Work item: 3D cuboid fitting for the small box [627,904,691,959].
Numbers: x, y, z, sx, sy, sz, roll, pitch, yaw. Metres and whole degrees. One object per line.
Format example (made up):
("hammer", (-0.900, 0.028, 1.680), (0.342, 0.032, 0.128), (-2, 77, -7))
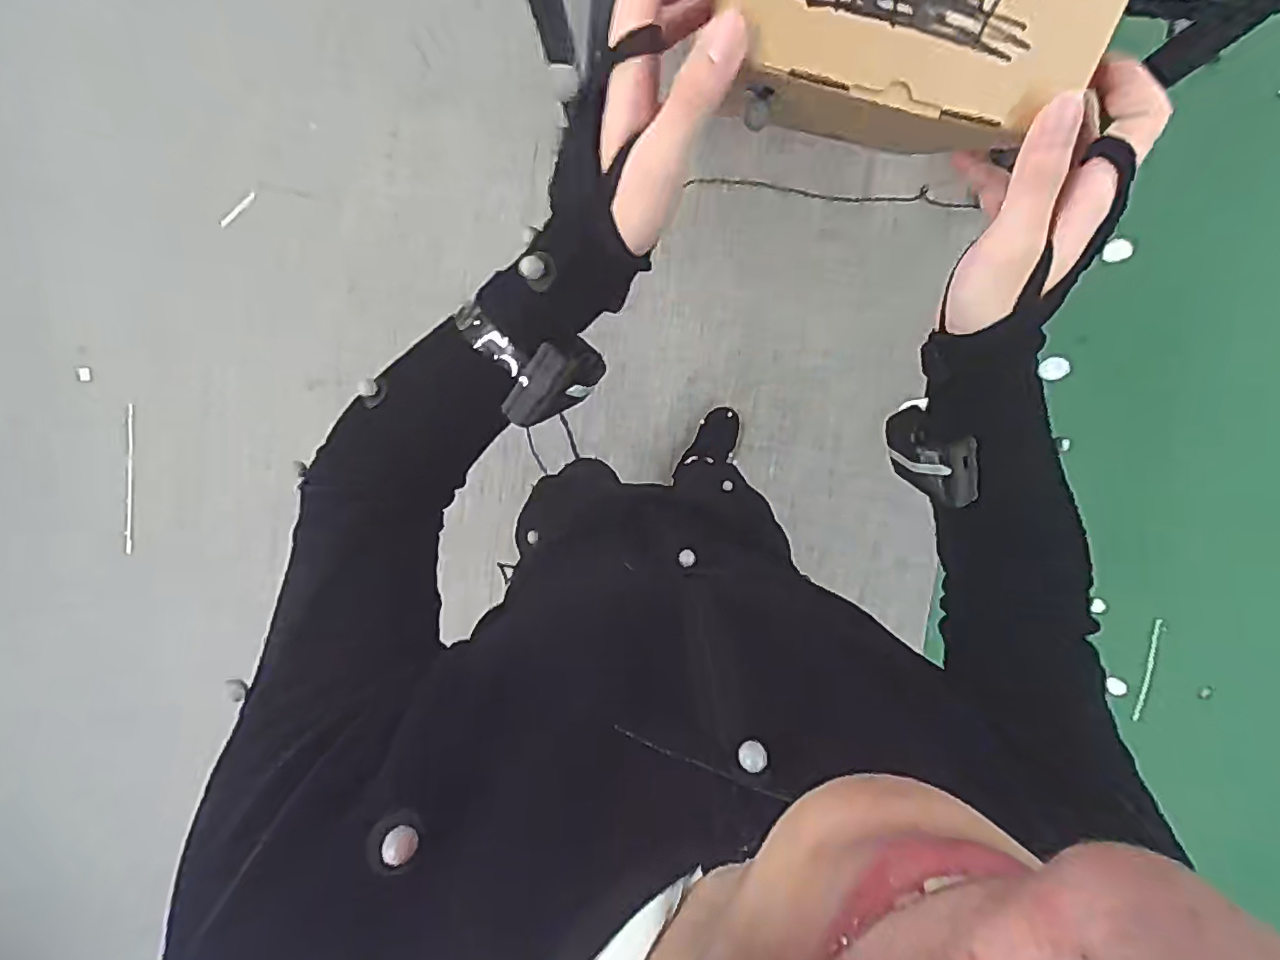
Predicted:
("small box", (0.052, 1.404, 1.593), (0.168, 0.176, 0.179), (9, 95, 2))
